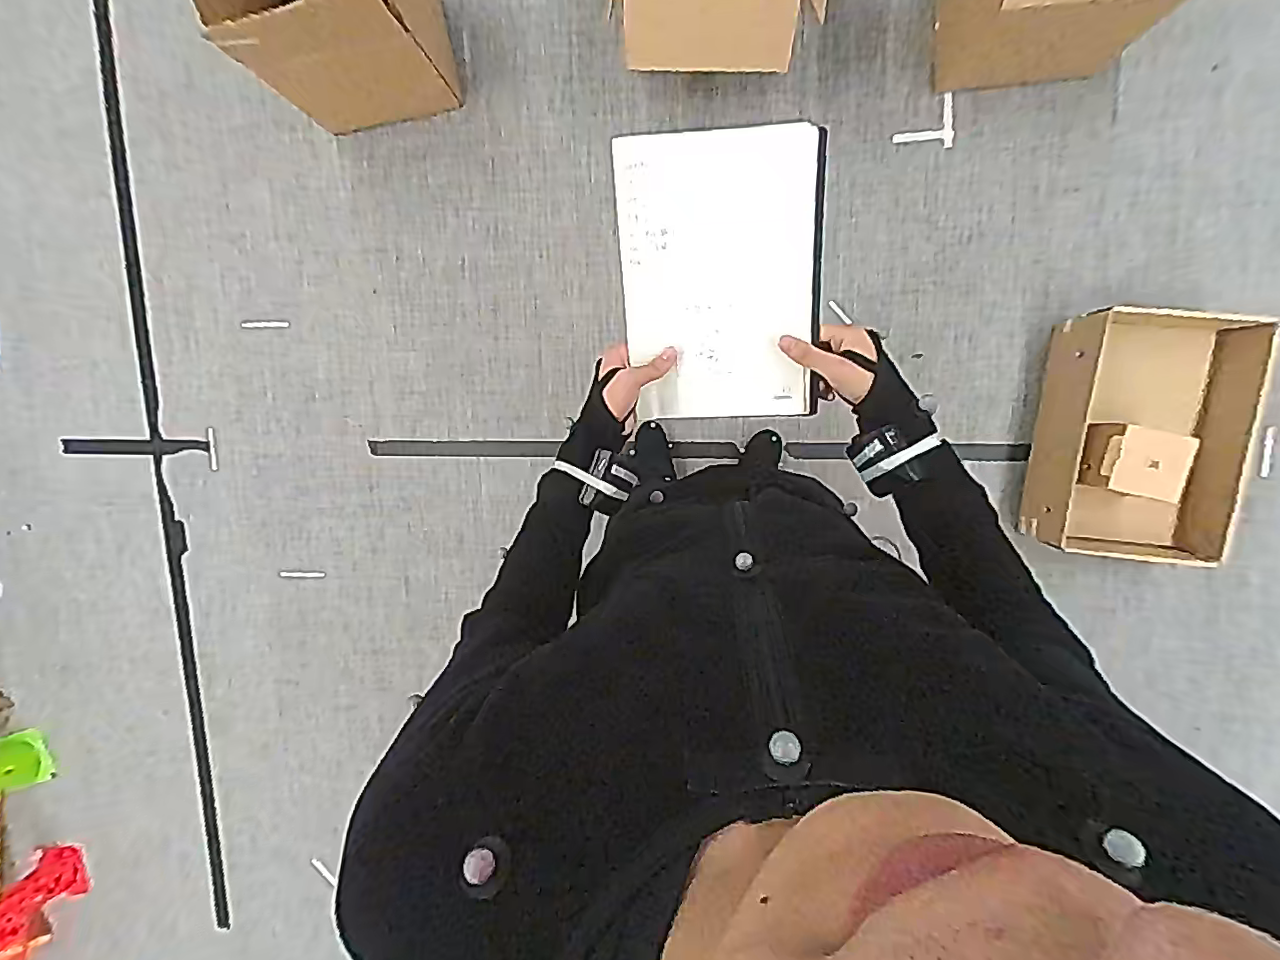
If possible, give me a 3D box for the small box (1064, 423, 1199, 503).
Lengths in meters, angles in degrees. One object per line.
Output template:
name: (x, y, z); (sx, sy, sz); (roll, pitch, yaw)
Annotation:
small box: (1.255, -0.048, 1.397); (0.179, 0.176, 0.168); (13, 98, 3)
